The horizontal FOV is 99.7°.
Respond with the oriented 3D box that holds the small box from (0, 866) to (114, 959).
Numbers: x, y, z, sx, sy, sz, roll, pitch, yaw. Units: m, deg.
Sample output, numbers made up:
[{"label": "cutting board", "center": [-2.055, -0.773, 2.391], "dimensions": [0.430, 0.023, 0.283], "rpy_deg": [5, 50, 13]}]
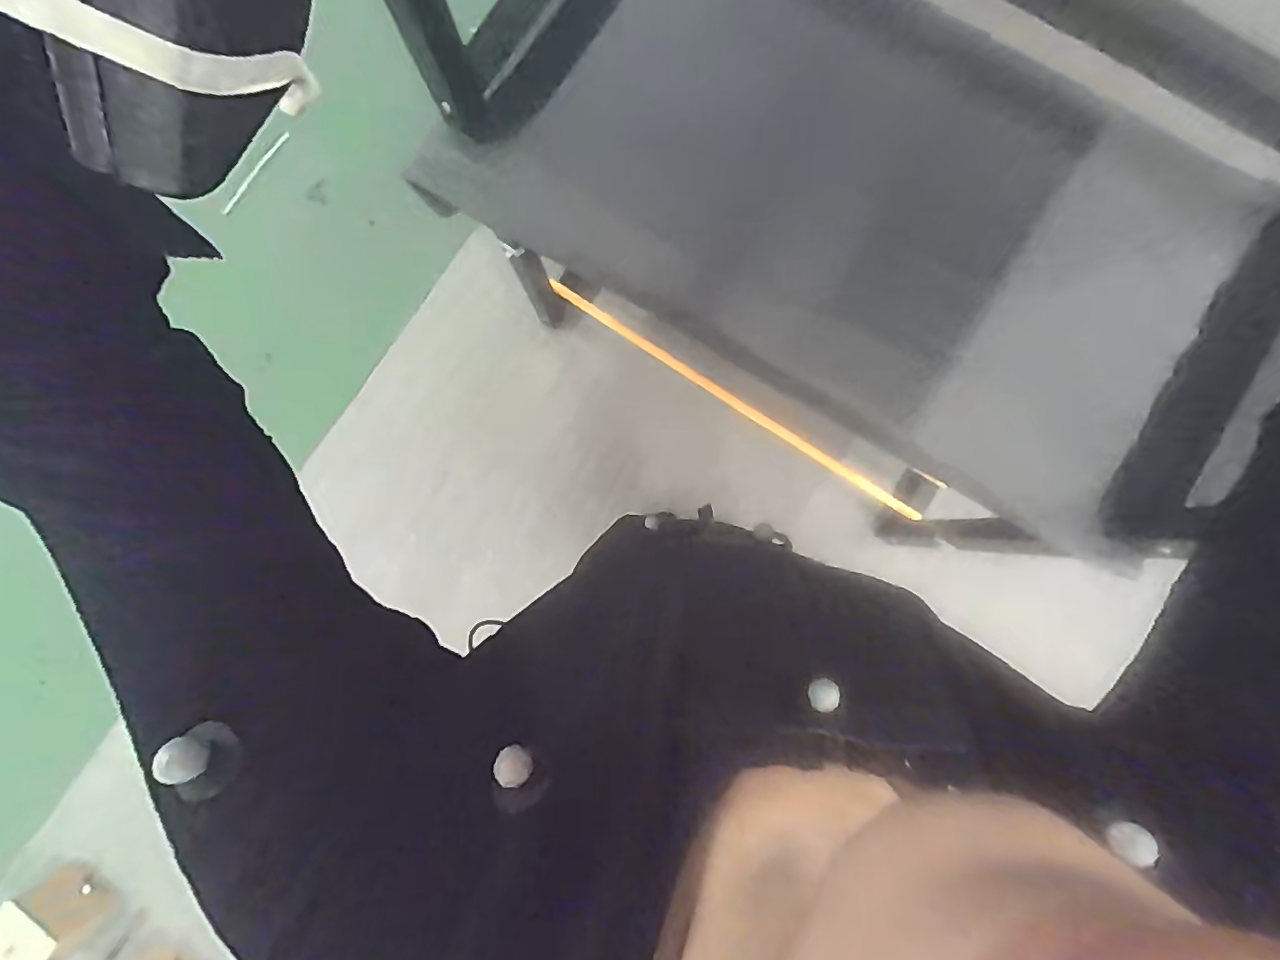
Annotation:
[{"label": "small box", "center": [-1.481, 1.120, 1.335], "dimensions": [0.168, 0.176, 0.179], "rpy_deg": [38, 85, 5]}]
